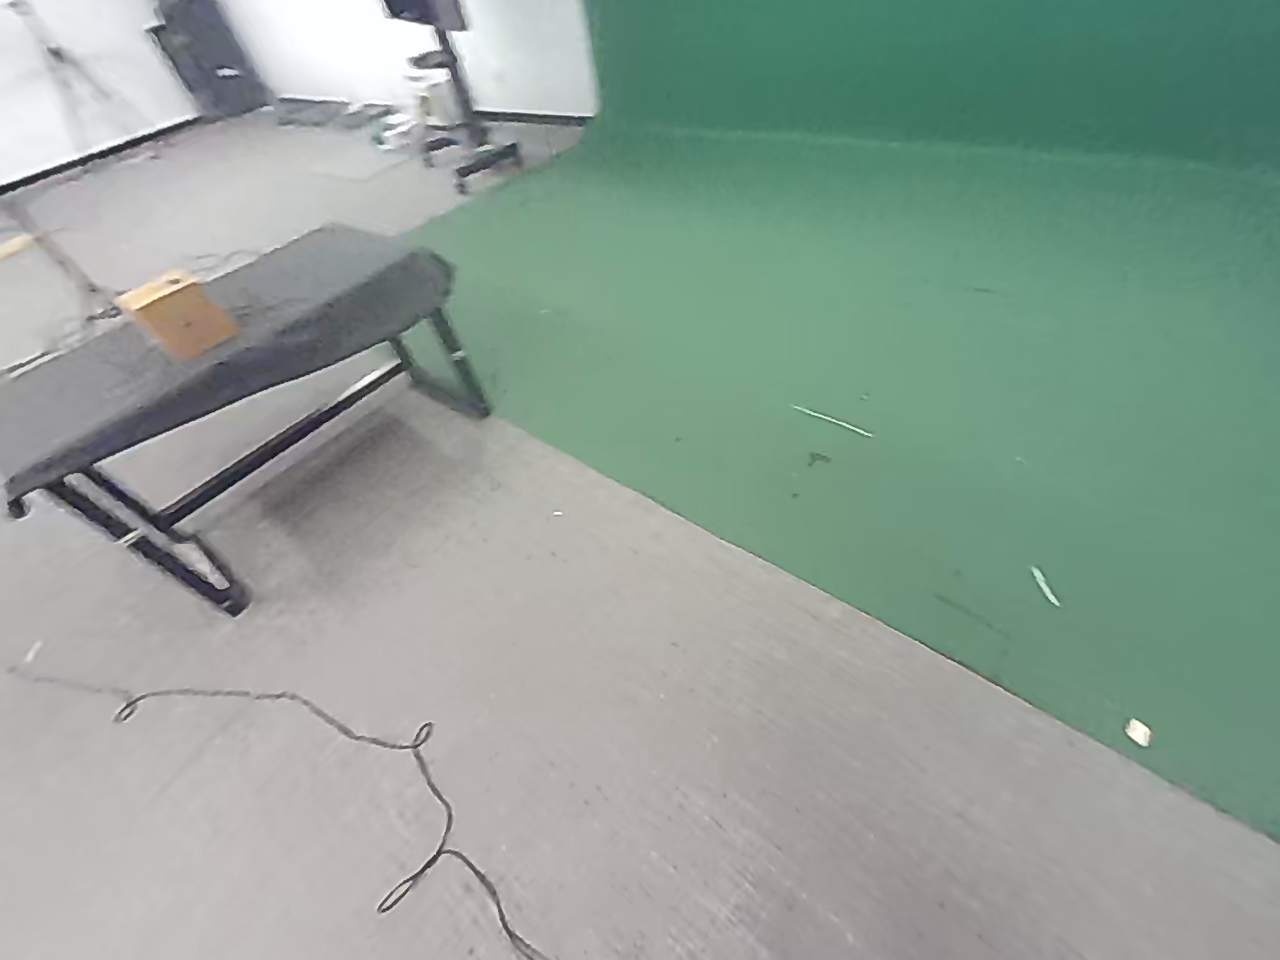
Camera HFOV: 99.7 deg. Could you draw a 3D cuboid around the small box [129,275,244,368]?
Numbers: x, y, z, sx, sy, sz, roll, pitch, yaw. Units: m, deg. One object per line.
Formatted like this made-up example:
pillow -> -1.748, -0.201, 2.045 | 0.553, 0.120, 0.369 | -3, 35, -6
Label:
small box -> -1.277, -0.450, 1.537 | 0.168, 0.176, 0.179 | 26, 59, 32
